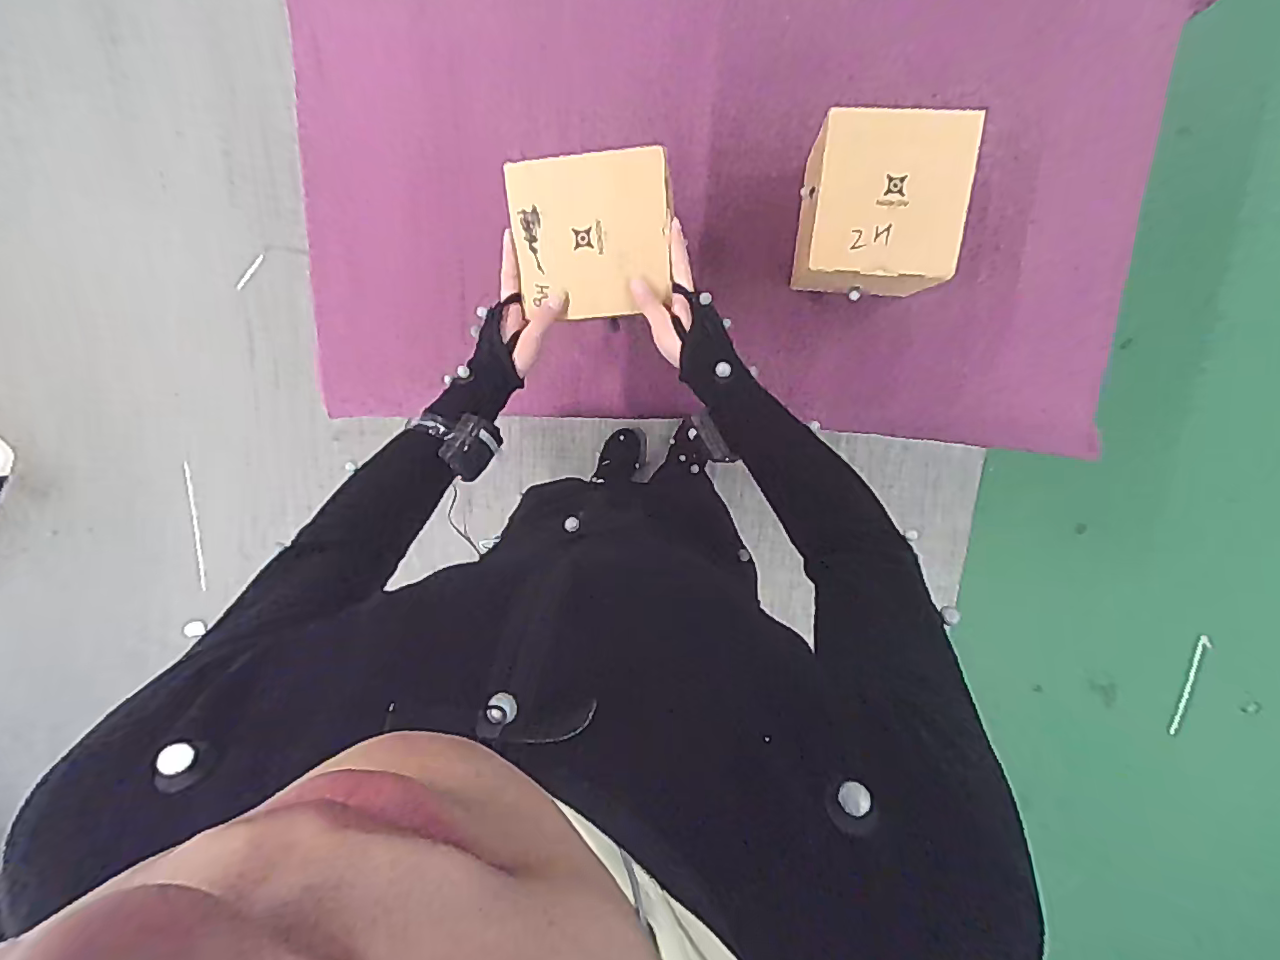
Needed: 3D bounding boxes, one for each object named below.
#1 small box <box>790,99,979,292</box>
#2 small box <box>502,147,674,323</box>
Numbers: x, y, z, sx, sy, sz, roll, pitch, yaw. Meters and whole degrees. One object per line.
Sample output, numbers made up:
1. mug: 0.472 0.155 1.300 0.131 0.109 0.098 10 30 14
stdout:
1. small box: 0.292 -0.347 0.689 0.168 0.176 0.179 6 103 7
2. small box: -0.050 -0.284 0.661 0.179 0.176 0.168 -3 105 6
